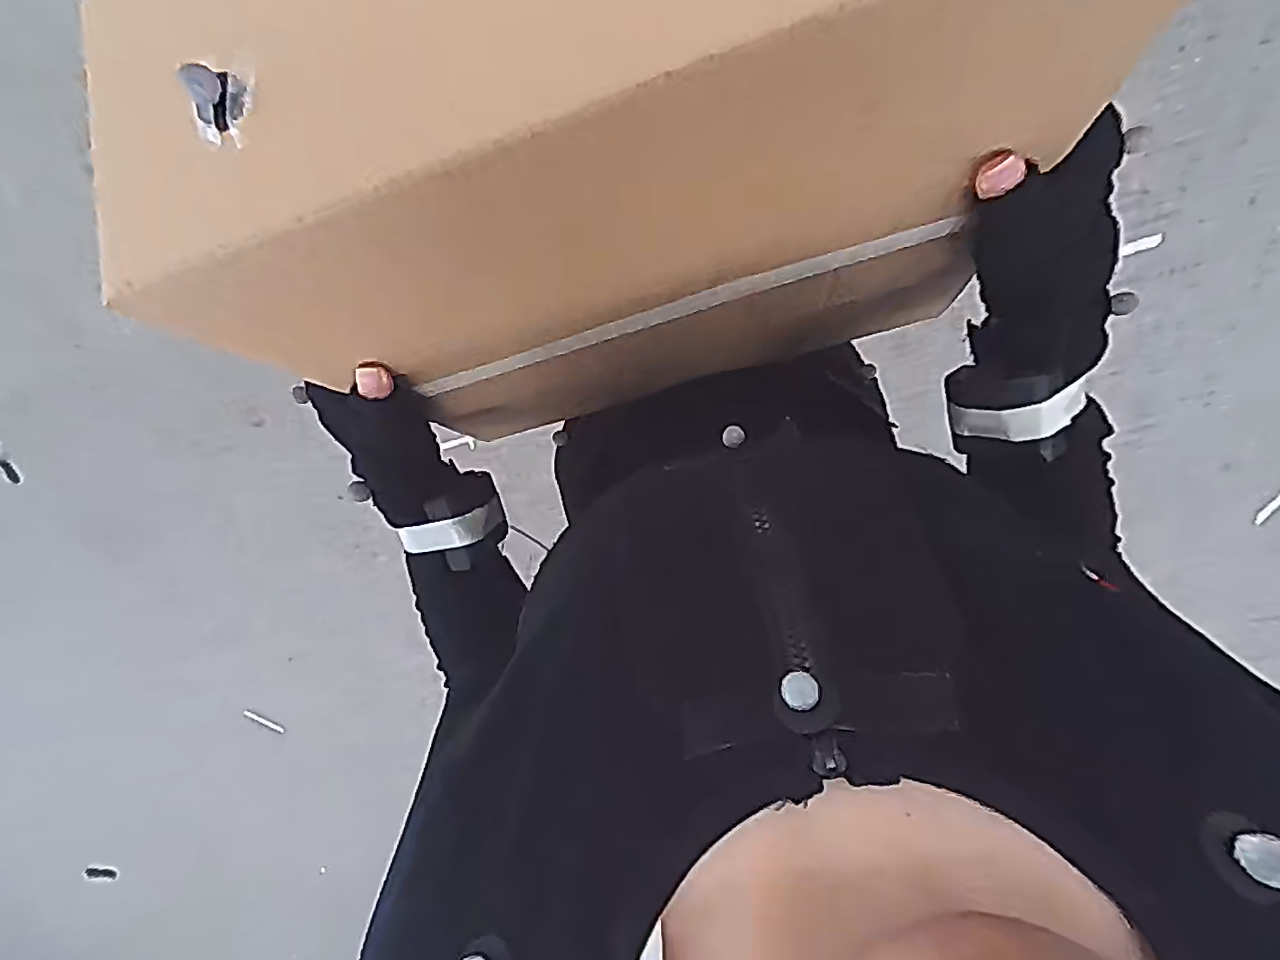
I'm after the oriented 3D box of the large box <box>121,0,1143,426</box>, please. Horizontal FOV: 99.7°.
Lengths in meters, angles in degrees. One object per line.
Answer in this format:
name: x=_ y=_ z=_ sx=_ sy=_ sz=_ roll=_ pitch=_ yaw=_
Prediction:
large box: x=-0.020 y=-0.260 z=0.351 sx=0.408 sy=0.320 sz=0.320 roll=-14 pitch=82 yaw=10
